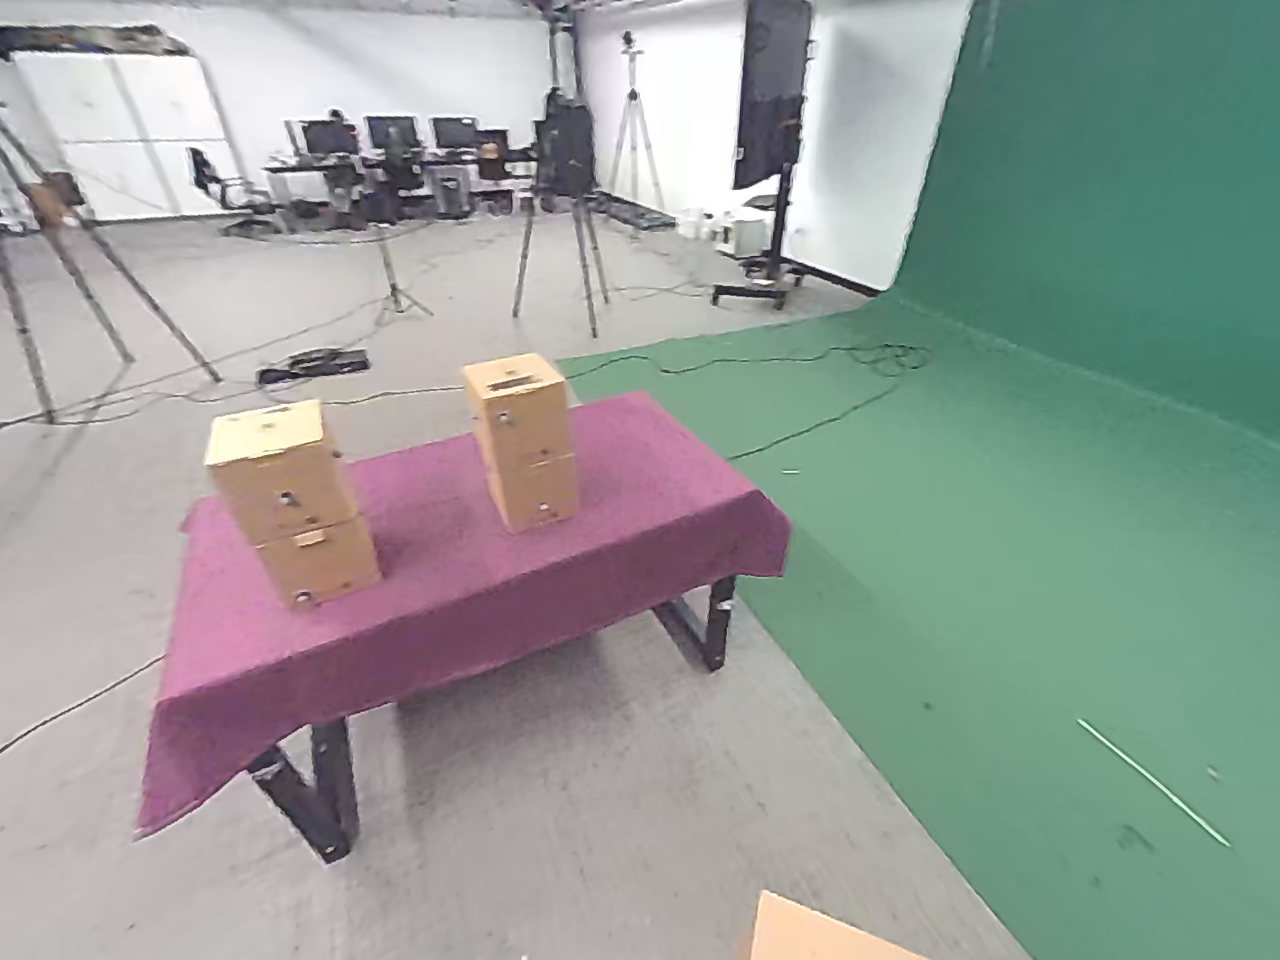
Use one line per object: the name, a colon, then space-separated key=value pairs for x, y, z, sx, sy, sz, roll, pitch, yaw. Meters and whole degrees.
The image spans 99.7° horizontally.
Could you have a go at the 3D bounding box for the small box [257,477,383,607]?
small box: x=-0.619 y=0.125 z=1.058 sx=0.168 sy=0.176 sz=0.179 roll=-18 pitch=38 yaw=-23

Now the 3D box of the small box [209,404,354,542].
small box: x=-0.624 y=-0.009 z=0.962 sx=0.168 sy=0.176 sz=0.179 roll=-16 pitch=39 yaw=-22

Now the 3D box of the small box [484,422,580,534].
small box: x=-0.244 y=-0.006 z=1.232 sx=0.168 sy=0.176 sz=0.179 roll=-17 pitch=39 yaw=-20
